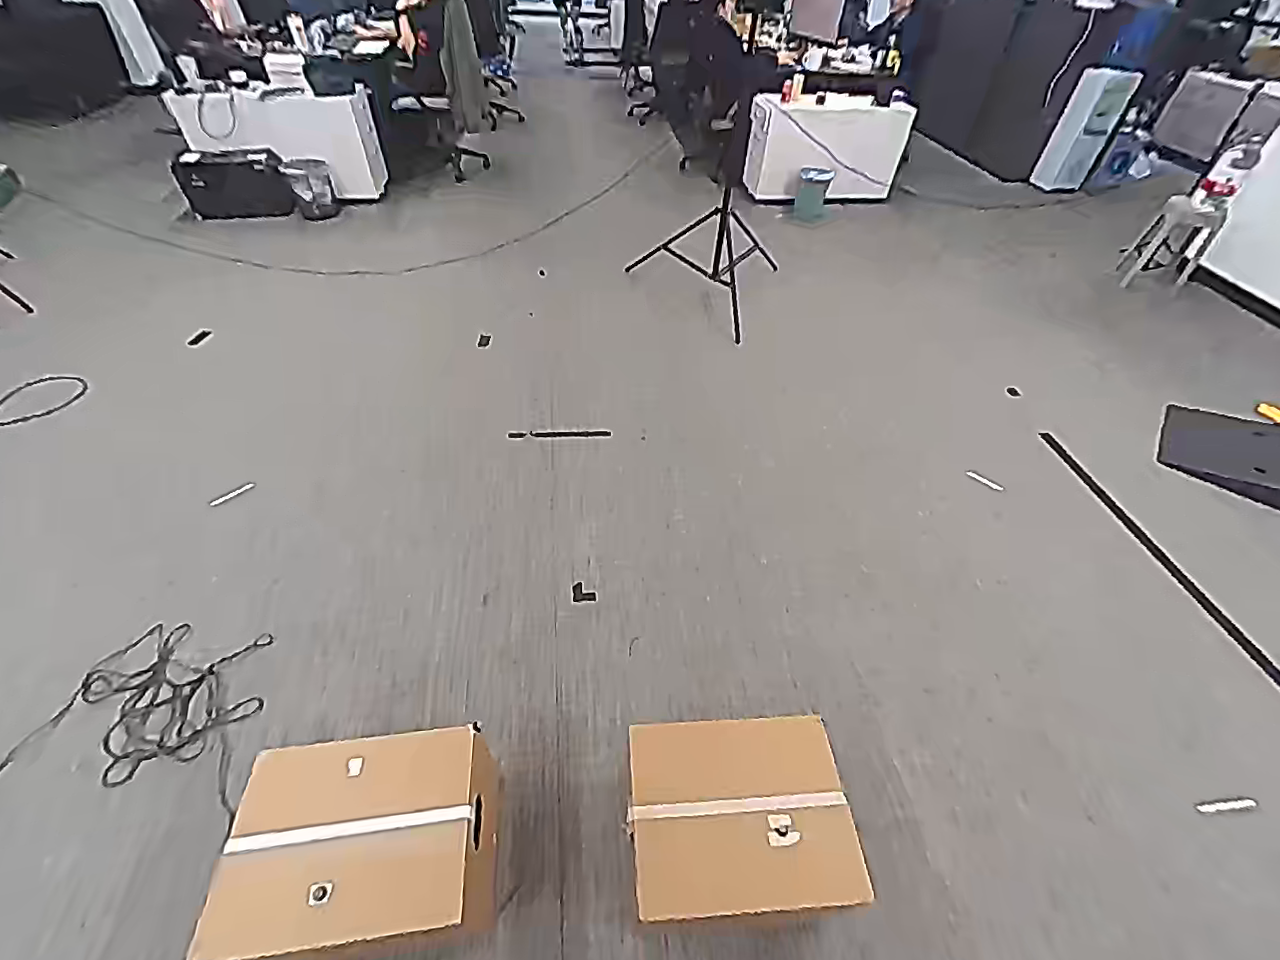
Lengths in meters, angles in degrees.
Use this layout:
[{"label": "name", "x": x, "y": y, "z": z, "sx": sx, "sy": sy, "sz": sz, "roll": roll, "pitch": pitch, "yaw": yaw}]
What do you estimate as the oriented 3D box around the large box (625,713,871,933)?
[{"label": "large box", "x": 0.182, "y": 0.707, "z": 1.120, "sx": 0.408, "sy": 0.320, "sz": 0.320, "roll": -1, "pitch": 47, "yaw": -5}]
